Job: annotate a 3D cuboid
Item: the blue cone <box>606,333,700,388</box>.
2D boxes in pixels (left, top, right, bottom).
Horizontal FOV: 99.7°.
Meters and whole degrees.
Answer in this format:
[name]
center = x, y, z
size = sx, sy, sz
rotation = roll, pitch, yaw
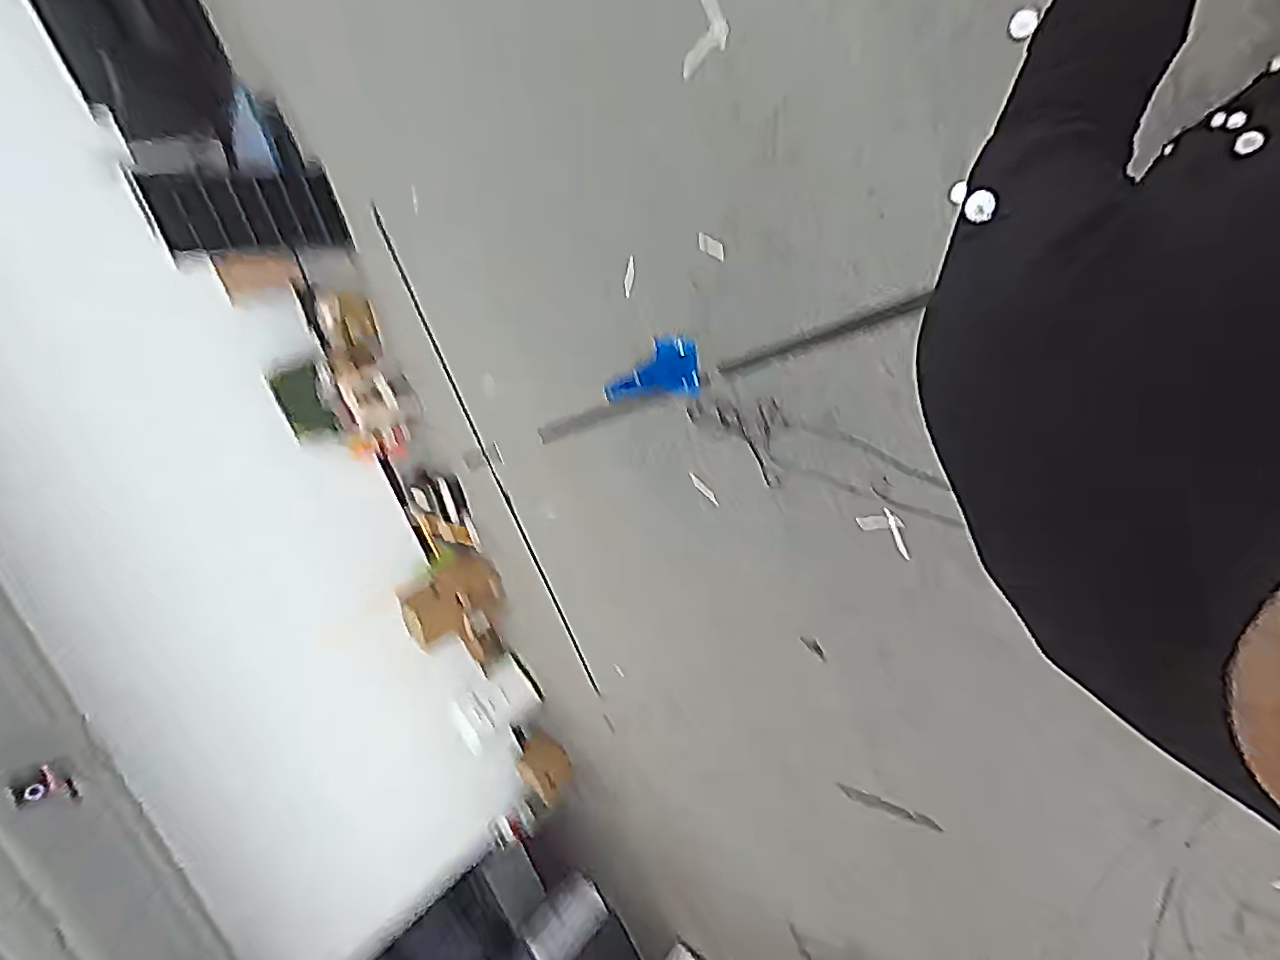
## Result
[blue cone]
center = 0.035, -0.395, 1.931
size = 0.192, 0.380, 0.193
rotation = 18, 125, 42
